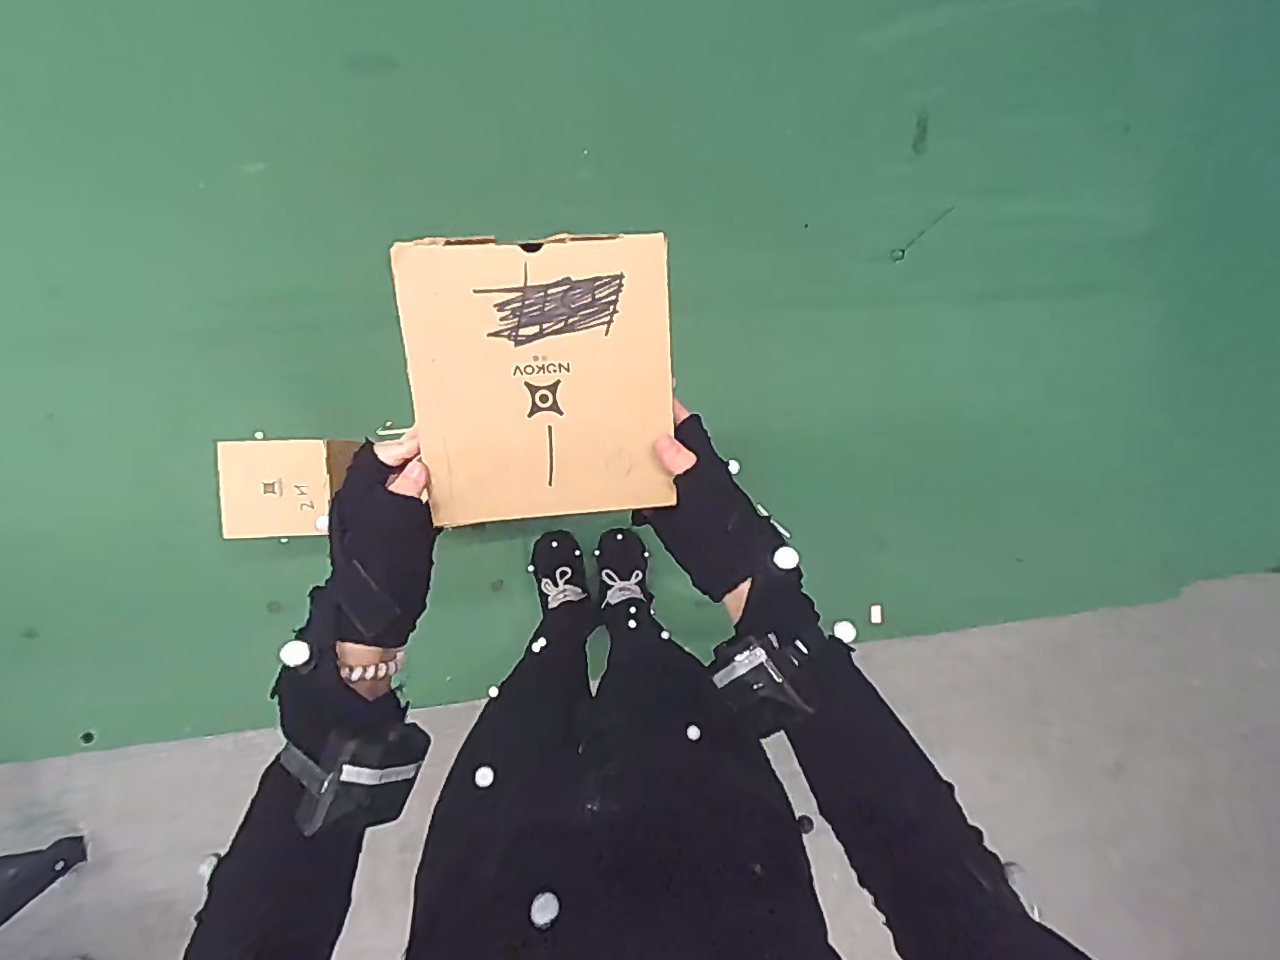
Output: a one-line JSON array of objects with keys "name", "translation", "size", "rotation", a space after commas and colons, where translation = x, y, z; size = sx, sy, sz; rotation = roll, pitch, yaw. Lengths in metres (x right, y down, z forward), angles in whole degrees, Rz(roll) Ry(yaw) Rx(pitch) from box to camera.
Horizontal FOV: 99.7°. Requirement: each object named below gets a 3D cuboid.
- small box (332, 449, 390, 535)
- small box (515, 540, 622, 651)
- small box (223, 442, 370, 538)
[{"name": "small box", "translation": [-0.651, 0.021, 1.162], "size": [0.168, 0.176, 0.179], "rotation": [-1, 92, -6]}, {"name": "small box", "translation": [-0.167, 0.260, 1.248], "size": [0.179, 0.176, 0.168], "rotation": [27, 101, 9]}, {"name": "small box", "translation": [-0.623, 0.016, 0.999], "size": [0.179, 0.176, 0.168], "rotation": [-1, 92, -6]}]
